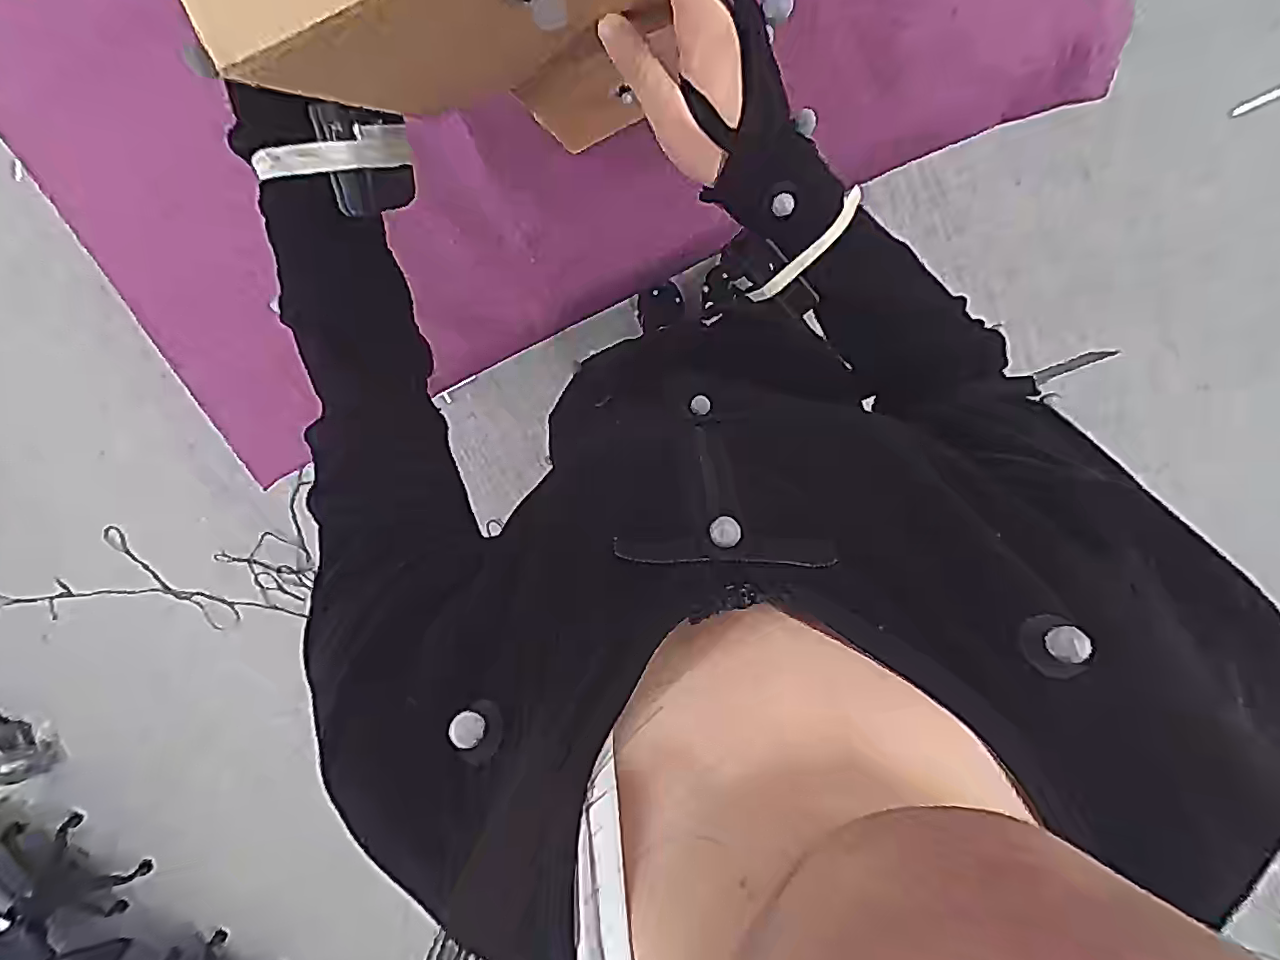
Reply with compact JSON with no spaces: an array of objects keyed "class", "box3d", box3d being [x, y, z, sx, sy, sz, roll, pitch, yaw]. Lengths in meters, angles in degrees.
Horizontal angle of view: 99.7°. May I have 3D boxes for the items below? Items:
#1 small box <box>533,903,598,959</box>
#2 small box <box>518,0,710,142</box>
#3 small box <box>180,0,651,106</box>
[{"class":"small box","box3d":[-0.249,1.558,1.788,0.168,0.176,0.179,24,111,-3]},{"class":"small box","box3d":[-0.040,-0.462,0.522,0.179,0.176,0.168,-21,108,13]},{"class":"small box","box3d":[-0.093,-0.284,0.224,0.179,0.176,0.168,-9,116,17]}]
